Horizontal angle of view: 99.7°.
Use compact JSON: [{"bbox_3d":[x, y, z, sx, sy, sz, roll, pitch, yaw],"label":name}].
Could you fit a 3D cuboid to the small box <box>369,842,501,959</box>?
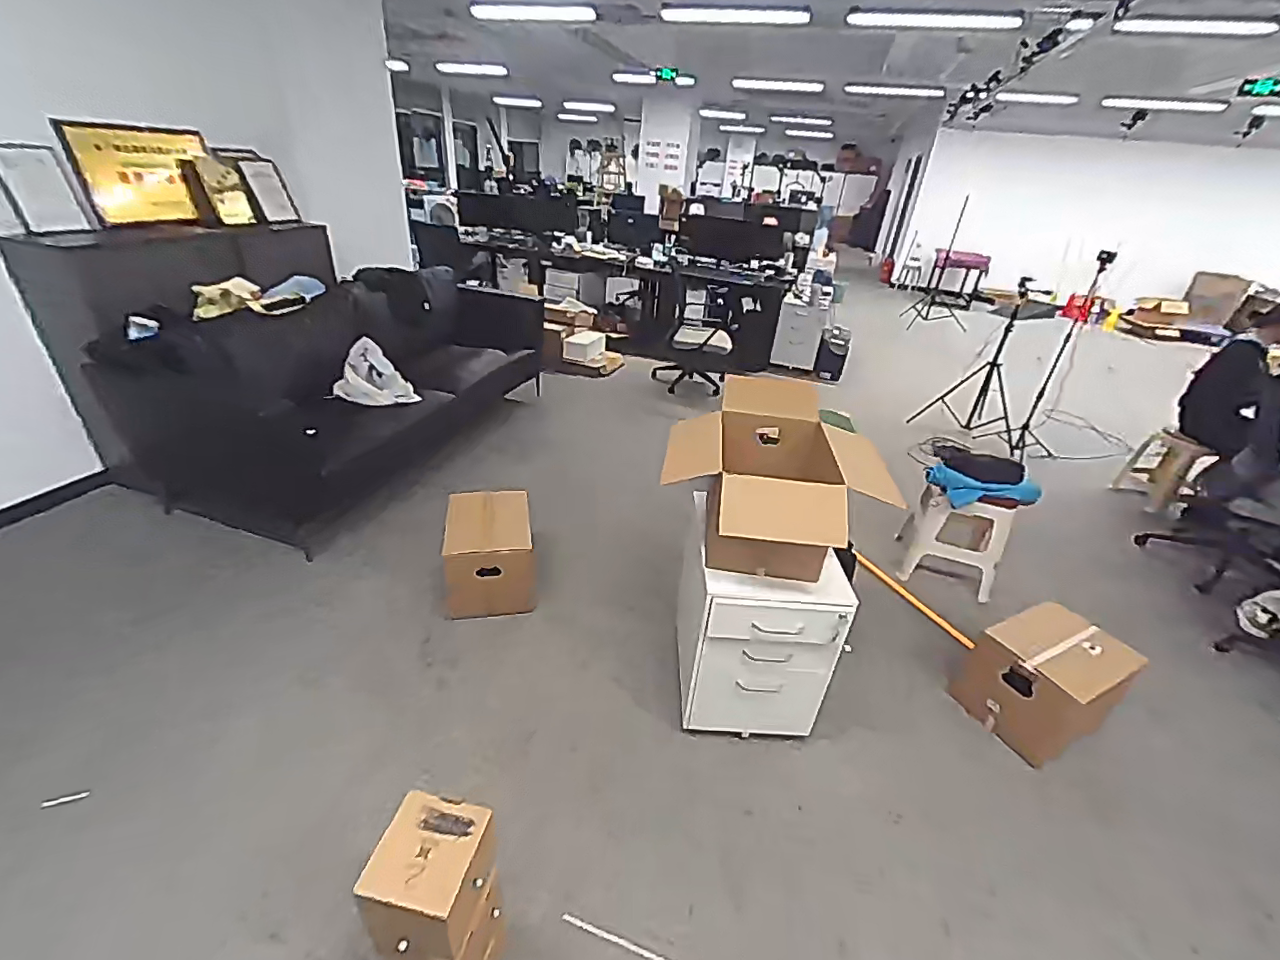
[{"bbox_3d":[-0.384,0.854,1.050,0.179,0.176,0.168,9,29,11],"label":"small box"}]
